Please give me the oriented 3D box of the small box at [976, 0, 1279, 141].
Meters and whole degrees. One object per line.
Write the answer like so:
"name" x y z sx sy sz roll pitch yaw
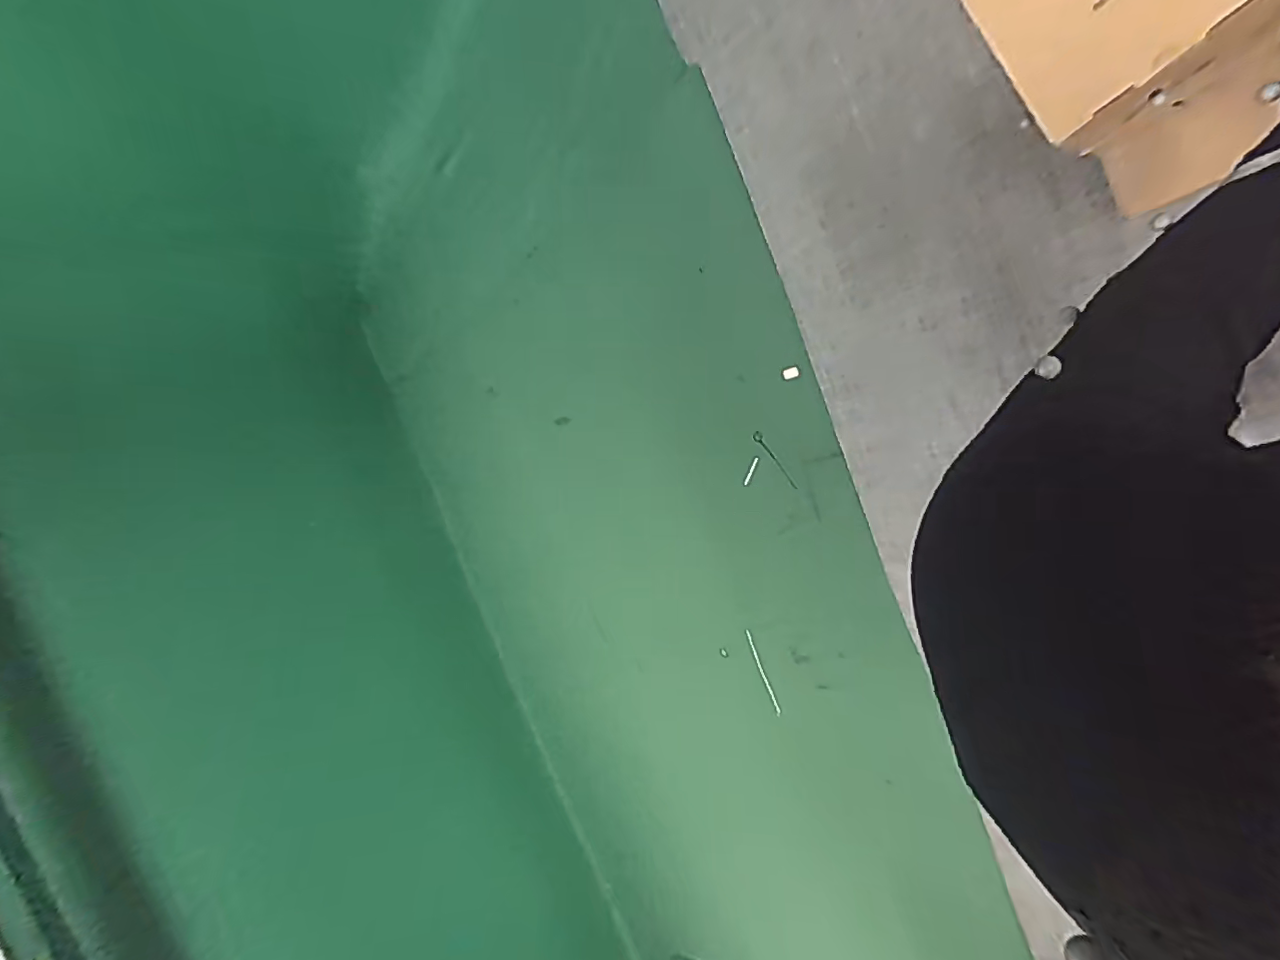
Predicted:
"small box" 0.440 -0.442 0.491 0.168 0.176 0.179 -32 87 49
